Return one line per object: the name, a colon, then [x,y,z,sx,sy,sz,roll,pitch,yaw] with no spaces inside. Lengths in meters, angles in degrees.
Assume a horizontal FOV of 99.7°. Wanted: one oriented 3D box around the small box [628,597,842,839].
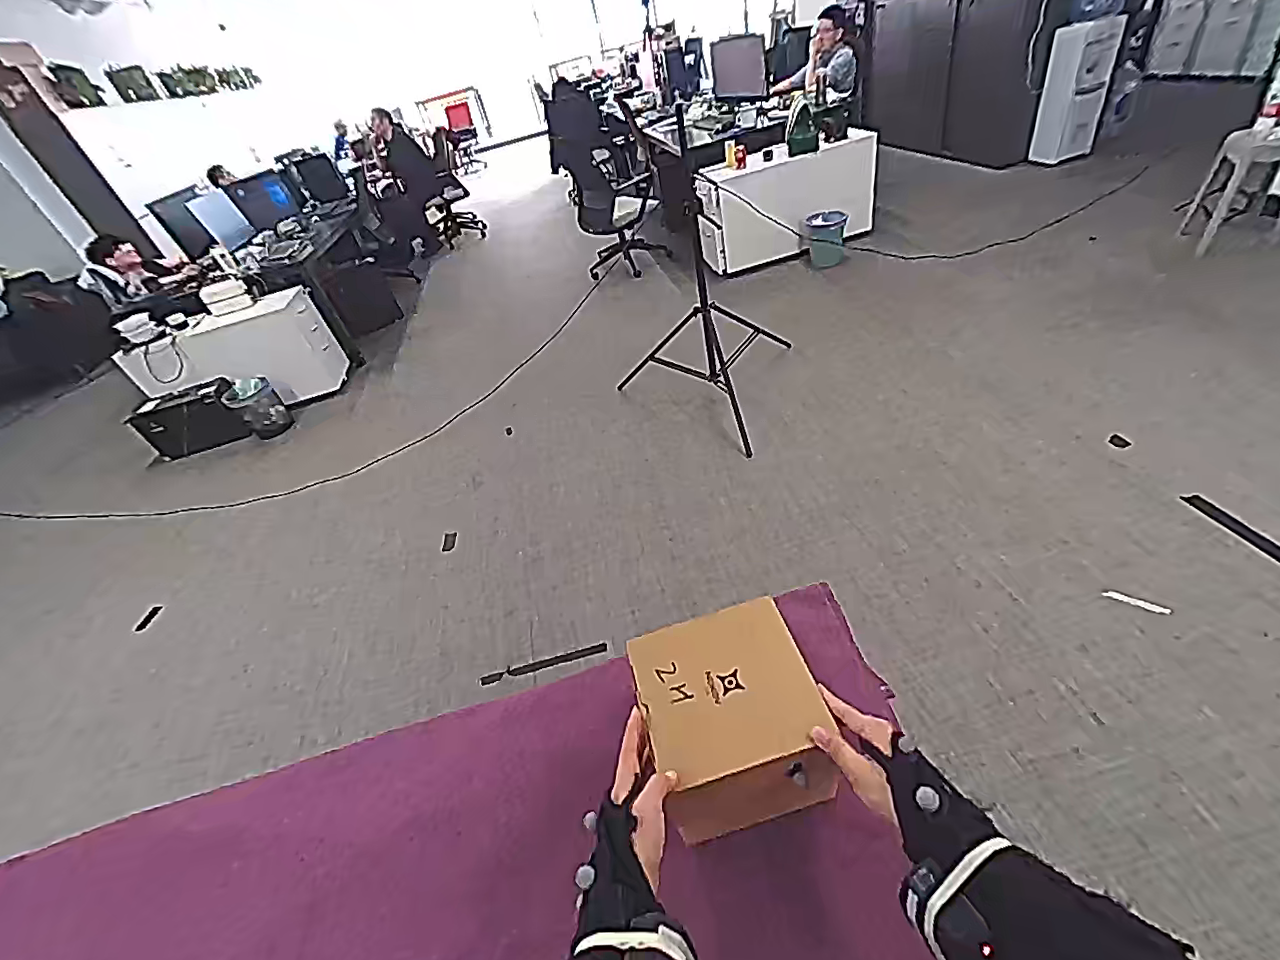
small box: [0.100,0.263,0.599,0.179,0.176,0.168,-17,41,-1]
